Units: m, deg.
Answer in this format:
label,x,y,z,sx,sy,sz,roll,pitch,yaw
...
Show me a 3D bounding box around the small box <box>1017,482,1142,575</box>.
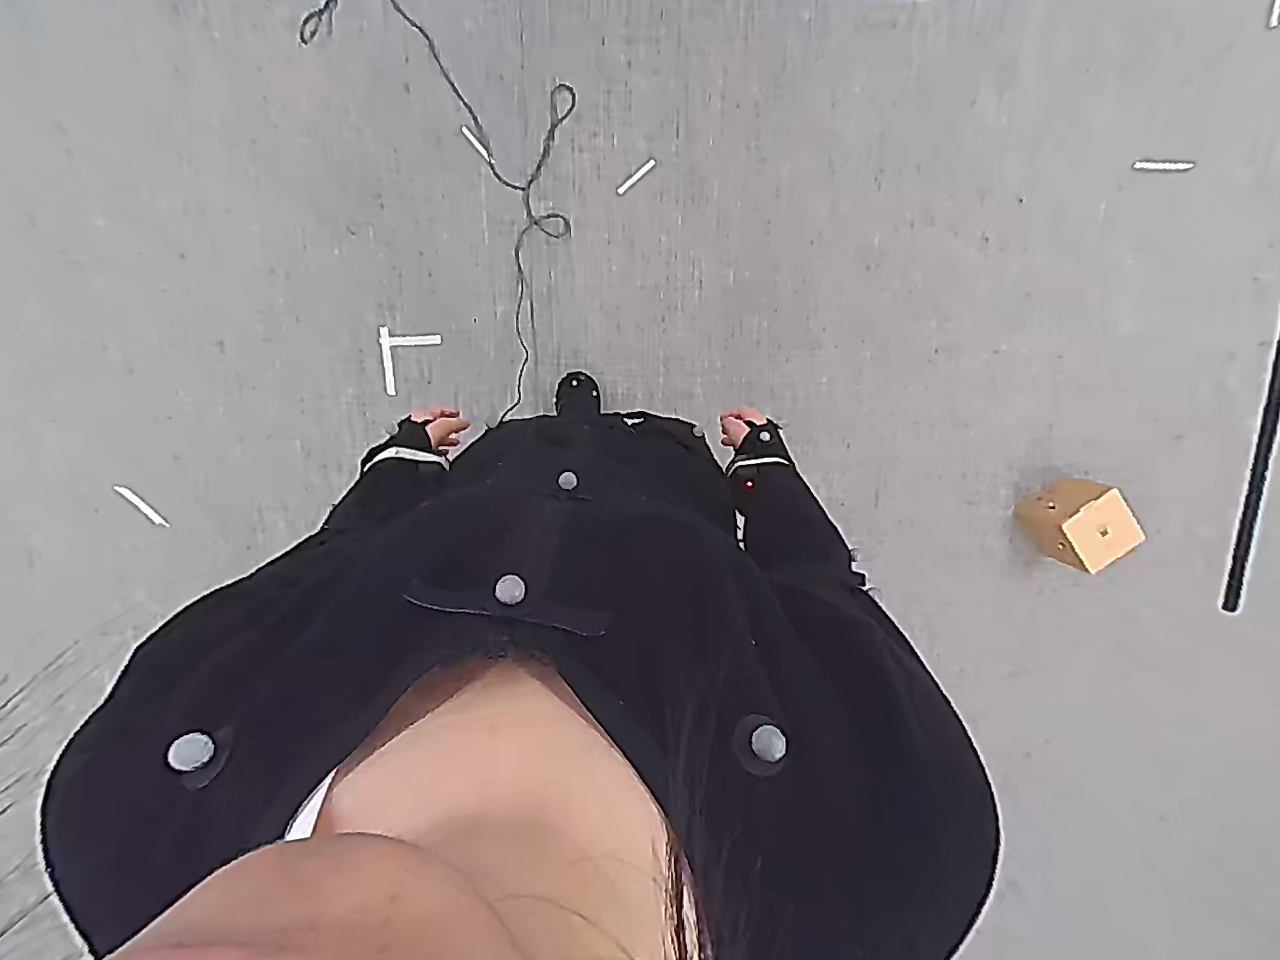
label,x,y,z,sx,sy,sz,roll,pitch,yaw
small box,1.187,0.122,1.476,0.168,0.176,0.179,-37,100,6
